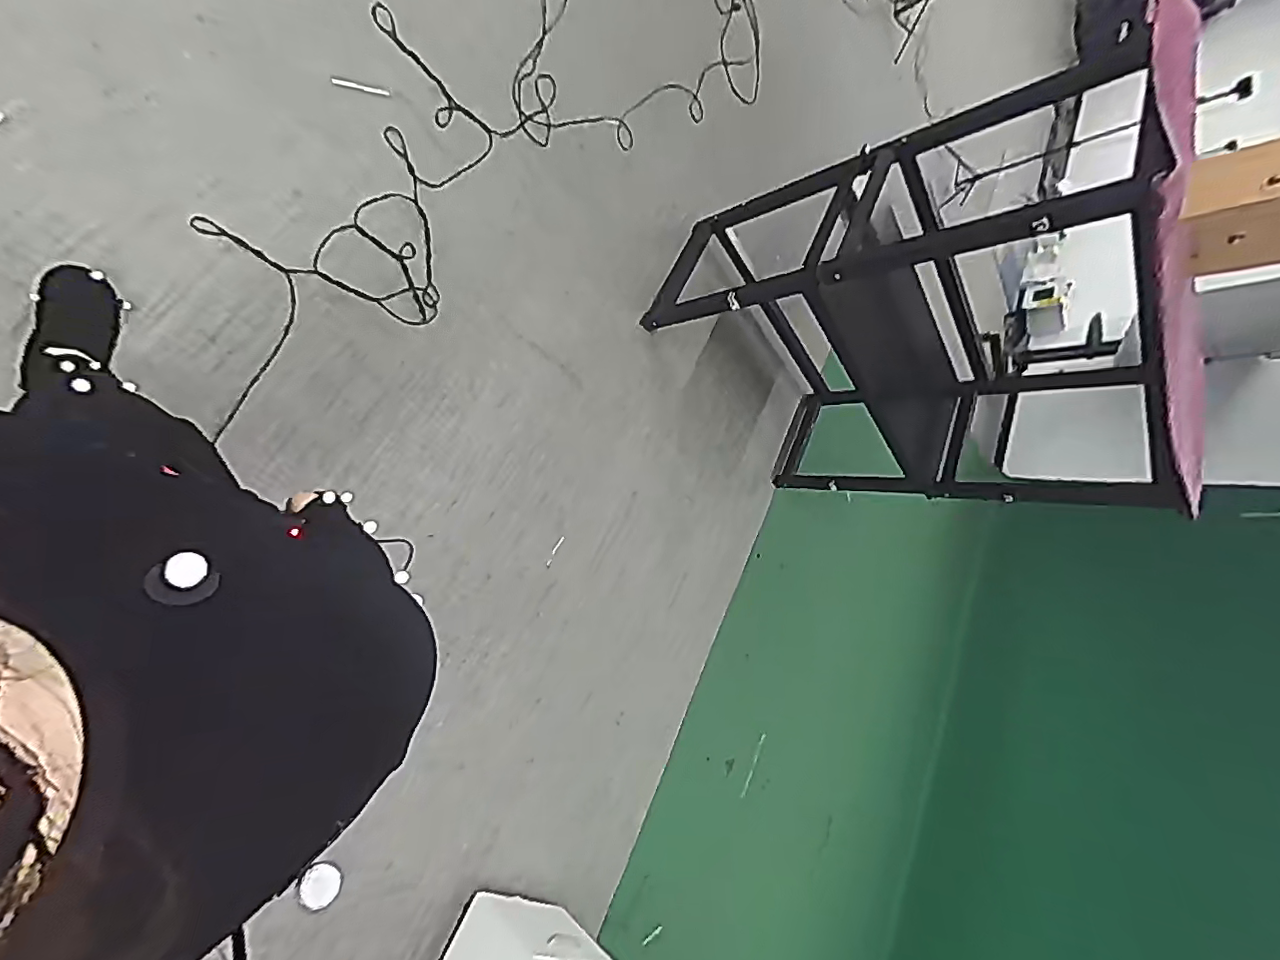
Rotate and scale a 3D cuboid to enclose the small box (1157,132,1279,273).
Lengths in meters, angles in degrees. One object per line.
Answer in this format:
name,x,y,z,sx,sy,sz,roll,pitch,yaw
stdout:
small box,1.184,-0.557,1.112,0.168,0.176,0.179,42,64,-38
